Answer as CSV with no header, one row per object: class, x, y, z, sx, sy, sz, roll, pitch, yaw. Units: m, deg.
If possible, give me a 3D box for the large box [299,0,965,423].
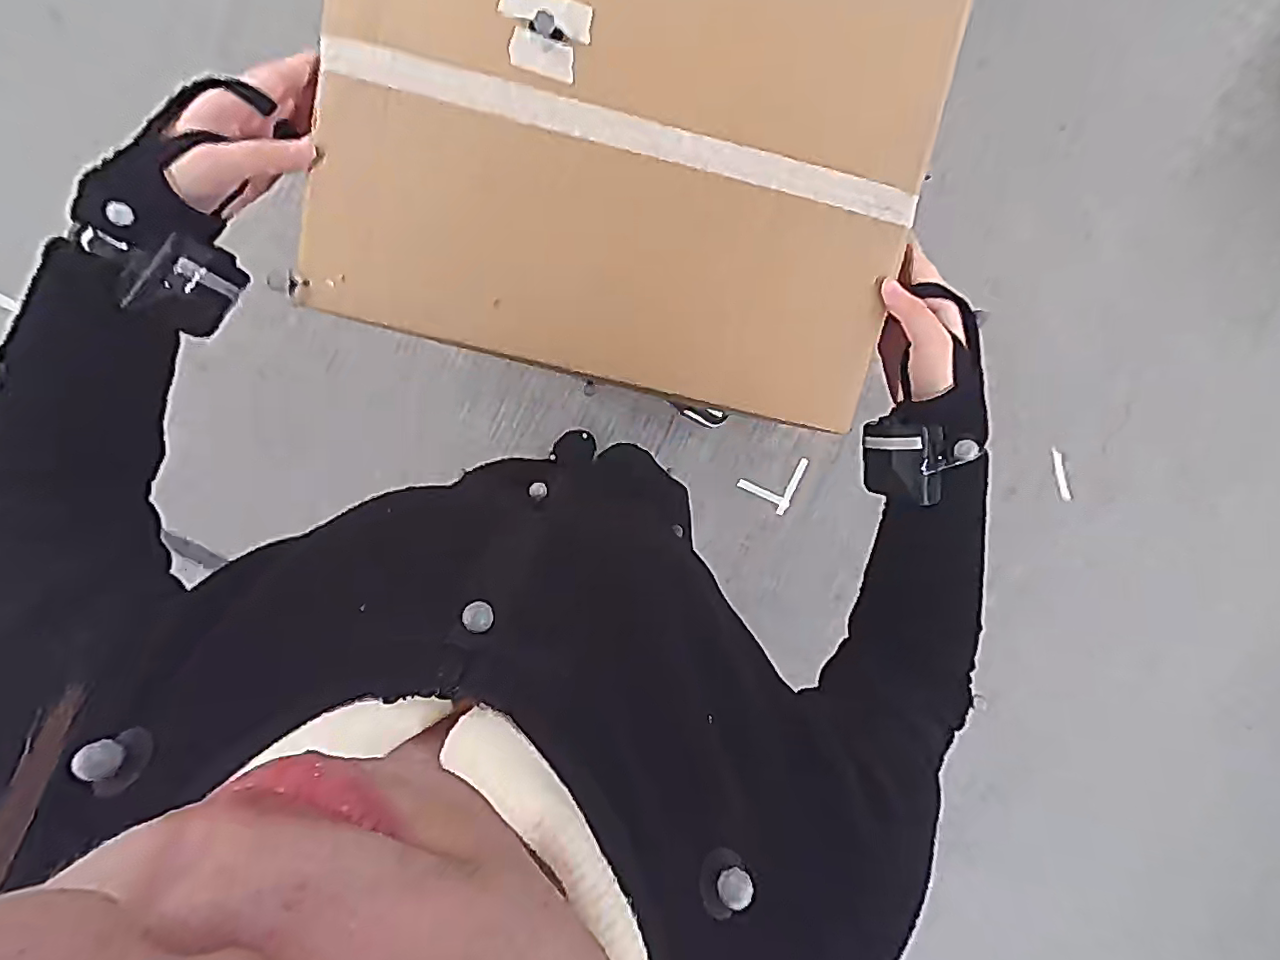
large box,-0.012,-0.249,0.504,0.408,0.320,0.320,12,98,-4
